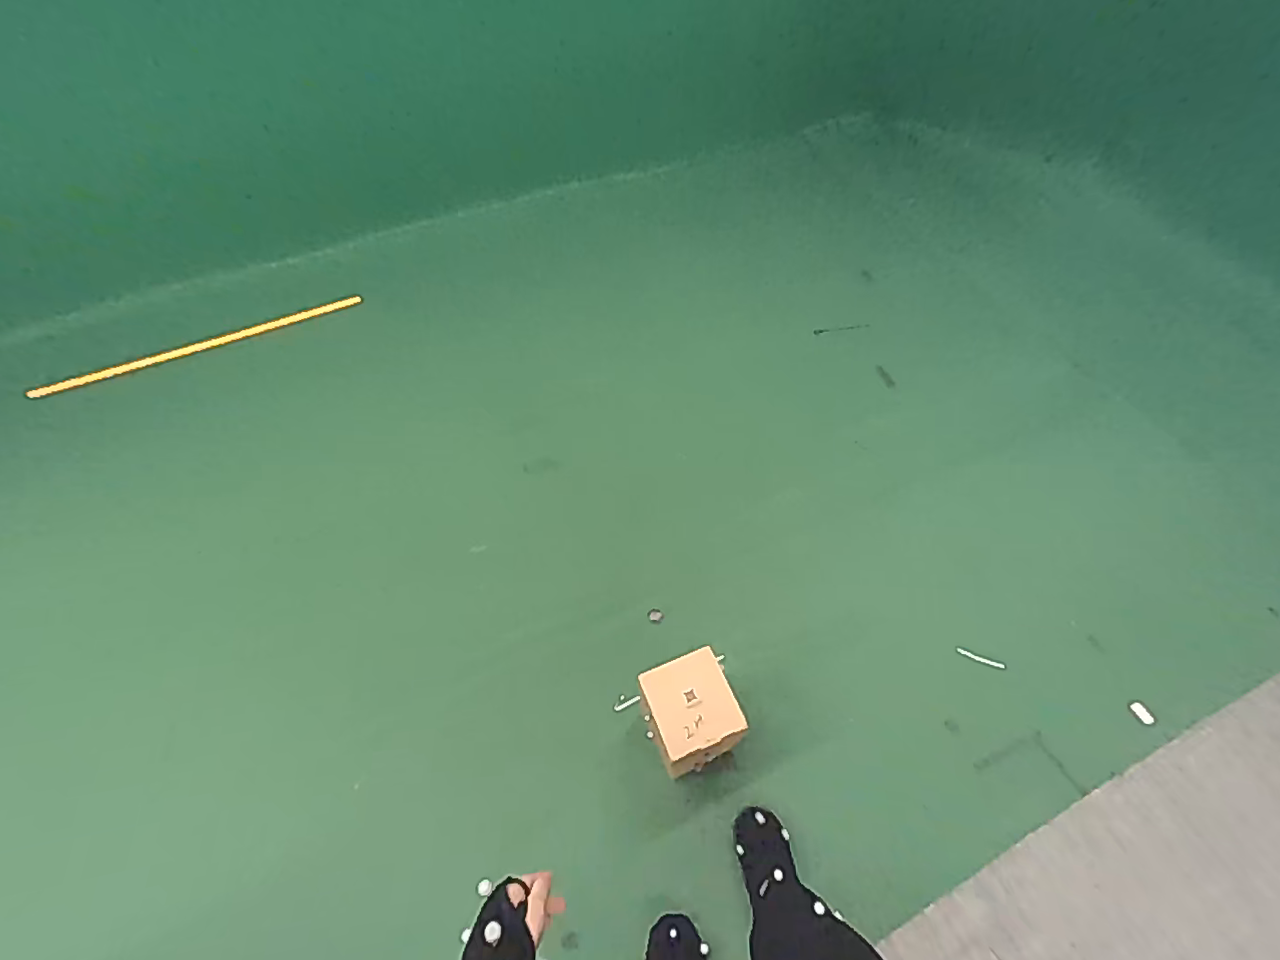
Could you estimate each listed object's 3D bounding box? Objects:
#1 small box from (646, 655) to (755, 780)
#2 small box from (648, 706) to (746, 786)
[{"bbox_3d":[0.120,0.503,1.139,0.168,0.176,0.179,-21,56,-10],"label":"small box"},{"bbox_3d":[0.132,0.597,1.275,0.168,0.176,0.179,-23,56,-12],"label":"small box"}]
